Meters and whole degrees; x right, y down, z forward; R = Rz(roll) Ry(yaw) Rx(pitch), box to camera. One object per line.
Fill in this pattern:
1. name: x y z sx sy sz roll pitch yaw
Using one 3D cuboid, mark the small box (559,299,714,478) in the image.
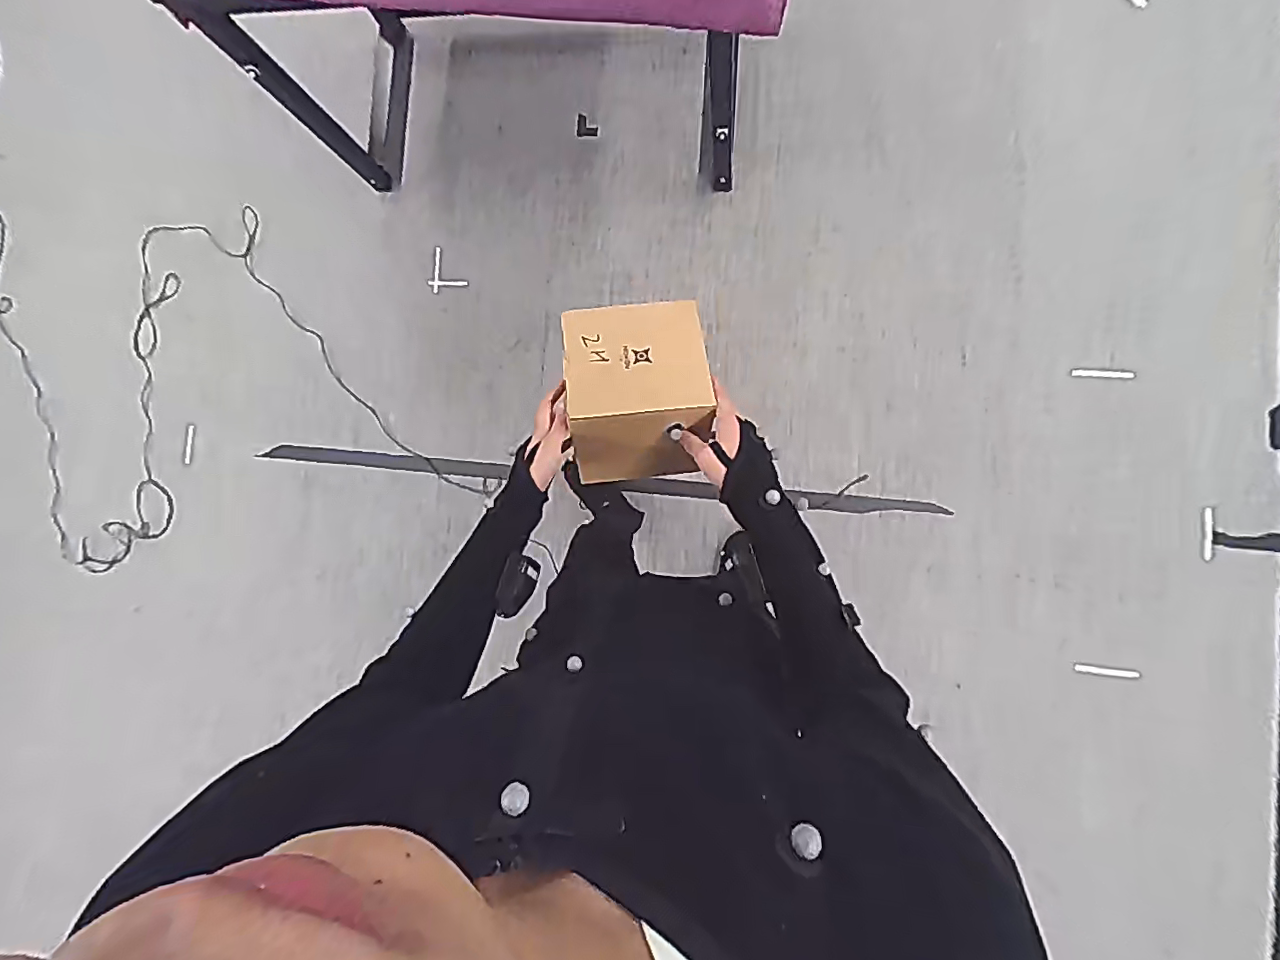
1. small box: -0.008 -0.115 0.723 0.179 0.176 0.168 -6 64 -2
